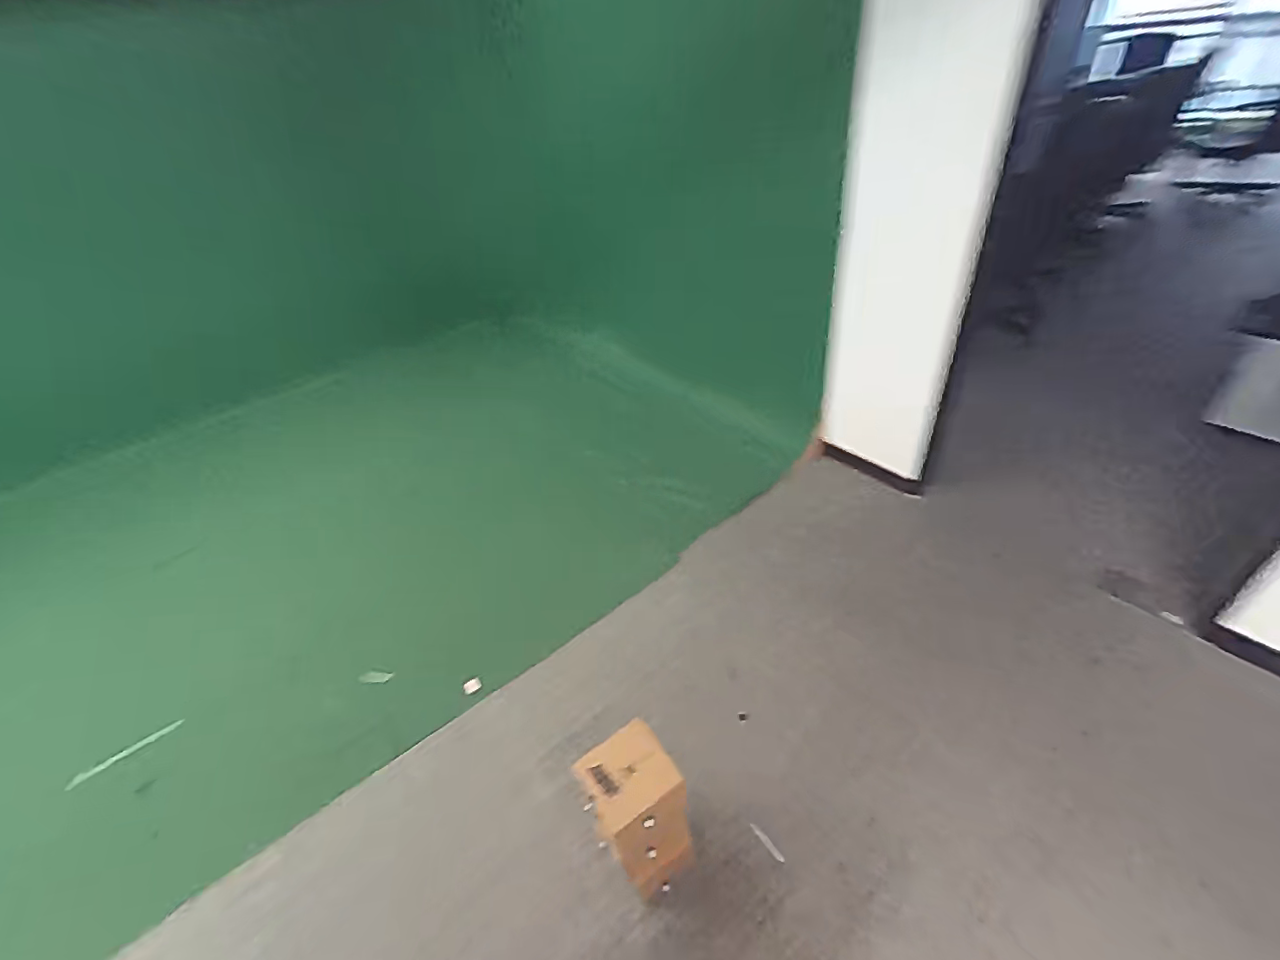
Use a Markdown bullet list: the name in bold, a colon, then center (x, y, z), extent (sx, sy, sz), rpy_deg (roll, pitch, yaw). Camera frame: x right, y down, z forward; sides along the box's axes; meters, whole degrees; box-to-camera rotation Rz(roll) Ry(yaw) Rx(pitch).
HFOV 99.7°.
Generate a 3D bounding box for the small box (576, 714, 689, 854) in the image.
- **small box**: center (-0.010, 0.652, 1.157), extent (0.179, 0.176, 0.168), rpy_deg (-27, 43, -21)

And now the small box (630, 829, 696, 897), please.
- **small box**: center (0.026, 0.901, 1.367), extent (0.168, 0.176, 0.179), rpy_deg (-27, 43, -19)

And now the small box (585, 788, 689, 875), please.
- **small box**: center (-0.001, 0.776, 1.265), extent (0.179, 0.176, 0.168), rpy_deg (-28, 43, -19)
